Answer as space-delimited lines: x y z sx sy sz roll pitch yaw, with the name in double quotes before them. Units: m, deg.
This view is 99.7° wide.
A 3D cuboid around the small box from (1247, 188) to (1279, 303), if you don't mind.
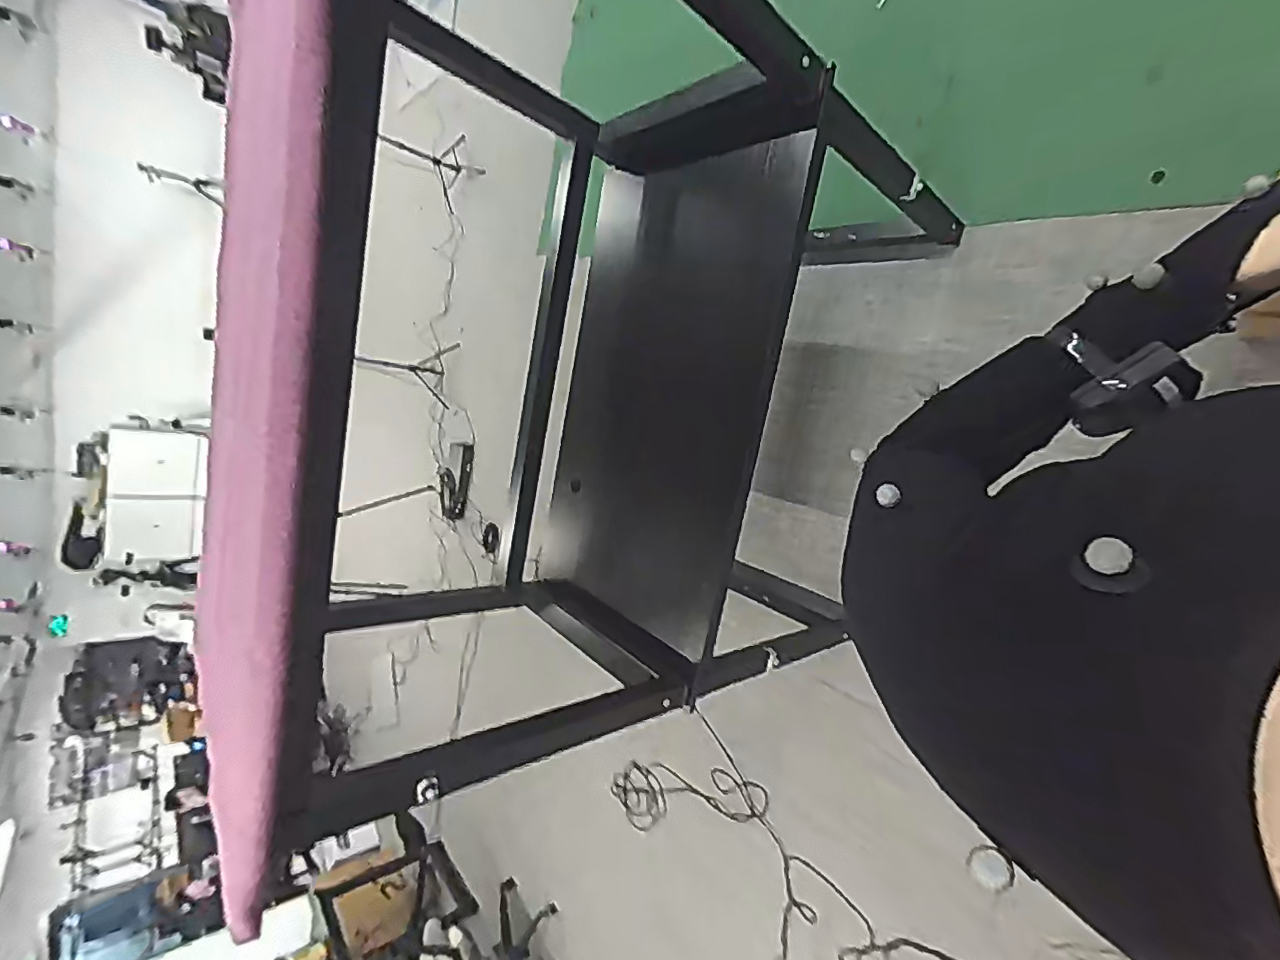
"small box" 1.047 -0.364 0.797 0.168 0.176 0.179 20 102 47
